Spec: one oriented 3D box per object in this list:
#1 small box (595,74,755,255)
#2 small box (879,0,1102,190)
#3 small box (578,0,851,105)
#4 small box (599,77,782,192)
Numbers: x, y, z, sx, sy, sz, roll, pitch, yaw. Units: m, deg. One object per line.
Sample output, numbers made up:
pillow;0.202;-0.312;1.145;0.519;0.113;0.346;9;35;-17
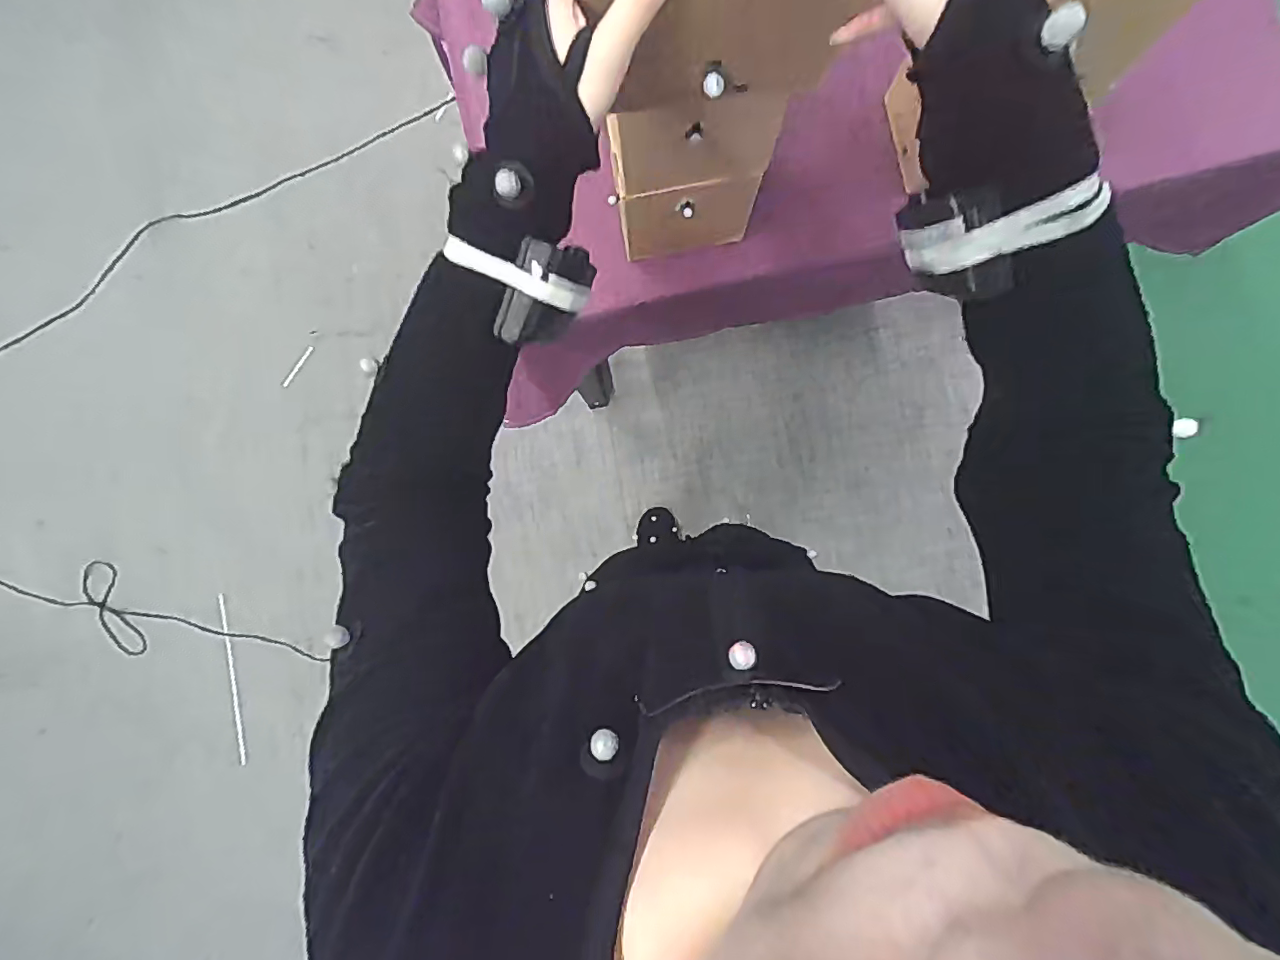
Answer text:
small box;0.045;-0.430;0.739;0.179;0.176;0.168;-10;87;1
small box;0.455;-0.527;0.729;0.179;0.176;0.168;-11;86;1
small box;0.039;-0.364;0.322;0.168;0.176;0.179;-4;104;4
small box;0.045;-0.443;0.576;0.179;0.176;0.168;-10;87;3
